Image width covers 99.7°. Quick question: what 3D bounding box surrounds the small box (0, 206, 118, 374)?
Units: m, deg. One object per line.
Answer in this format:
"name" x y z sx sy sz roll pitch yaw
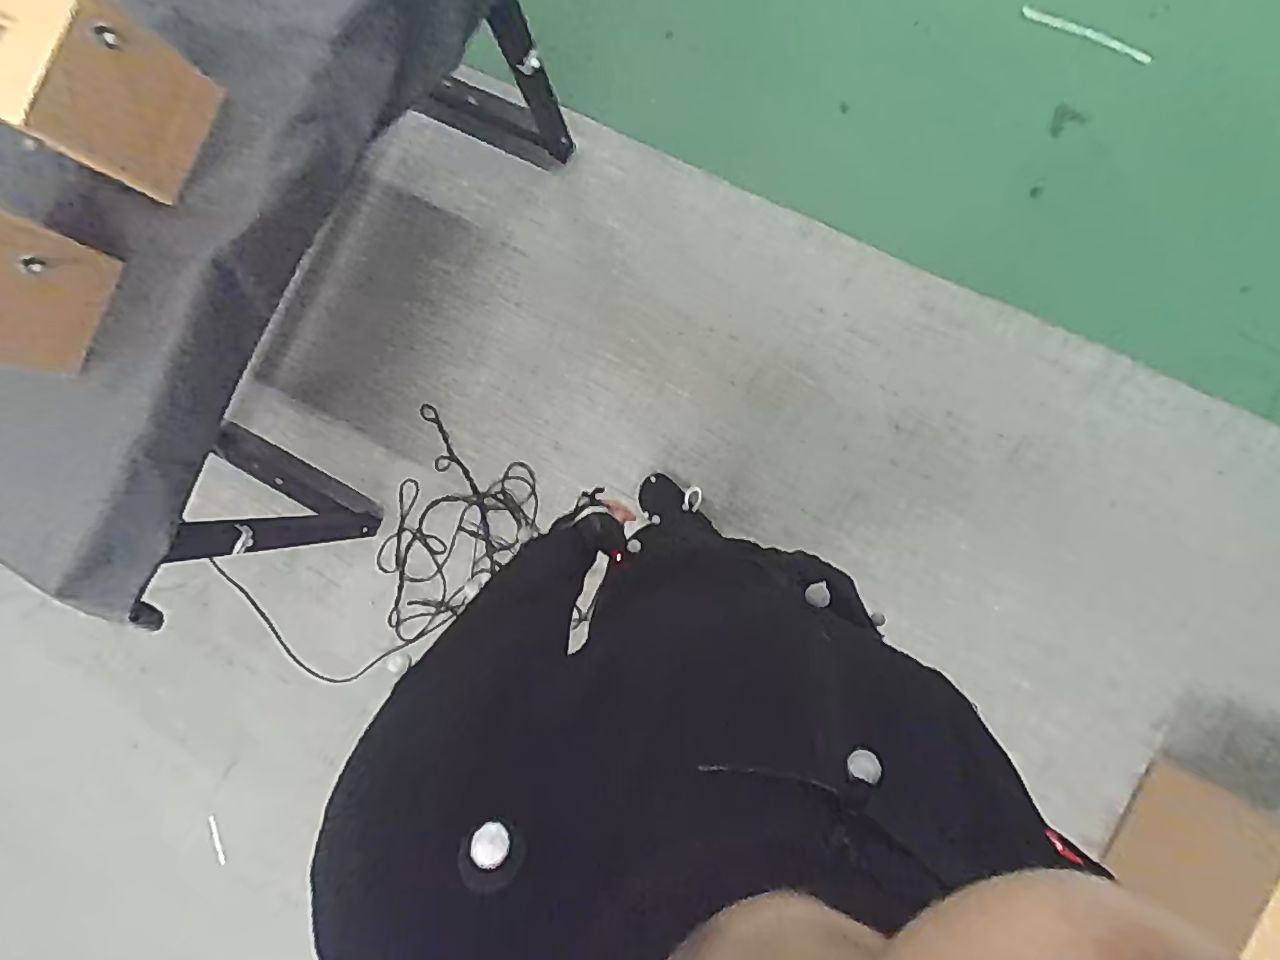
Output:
"small box" -0.821 -0.256 0.676 0.168 0.176 0.179 24 92 9

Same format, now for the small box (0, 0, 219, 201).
"small box" -0.678 -0.485 0.666 0.168 0.176 0.179 26 91 8

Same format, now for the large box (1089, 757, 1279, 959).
"large box" 1.199 0.846 1.043 0.320 0.320 0.408 25 92 8
